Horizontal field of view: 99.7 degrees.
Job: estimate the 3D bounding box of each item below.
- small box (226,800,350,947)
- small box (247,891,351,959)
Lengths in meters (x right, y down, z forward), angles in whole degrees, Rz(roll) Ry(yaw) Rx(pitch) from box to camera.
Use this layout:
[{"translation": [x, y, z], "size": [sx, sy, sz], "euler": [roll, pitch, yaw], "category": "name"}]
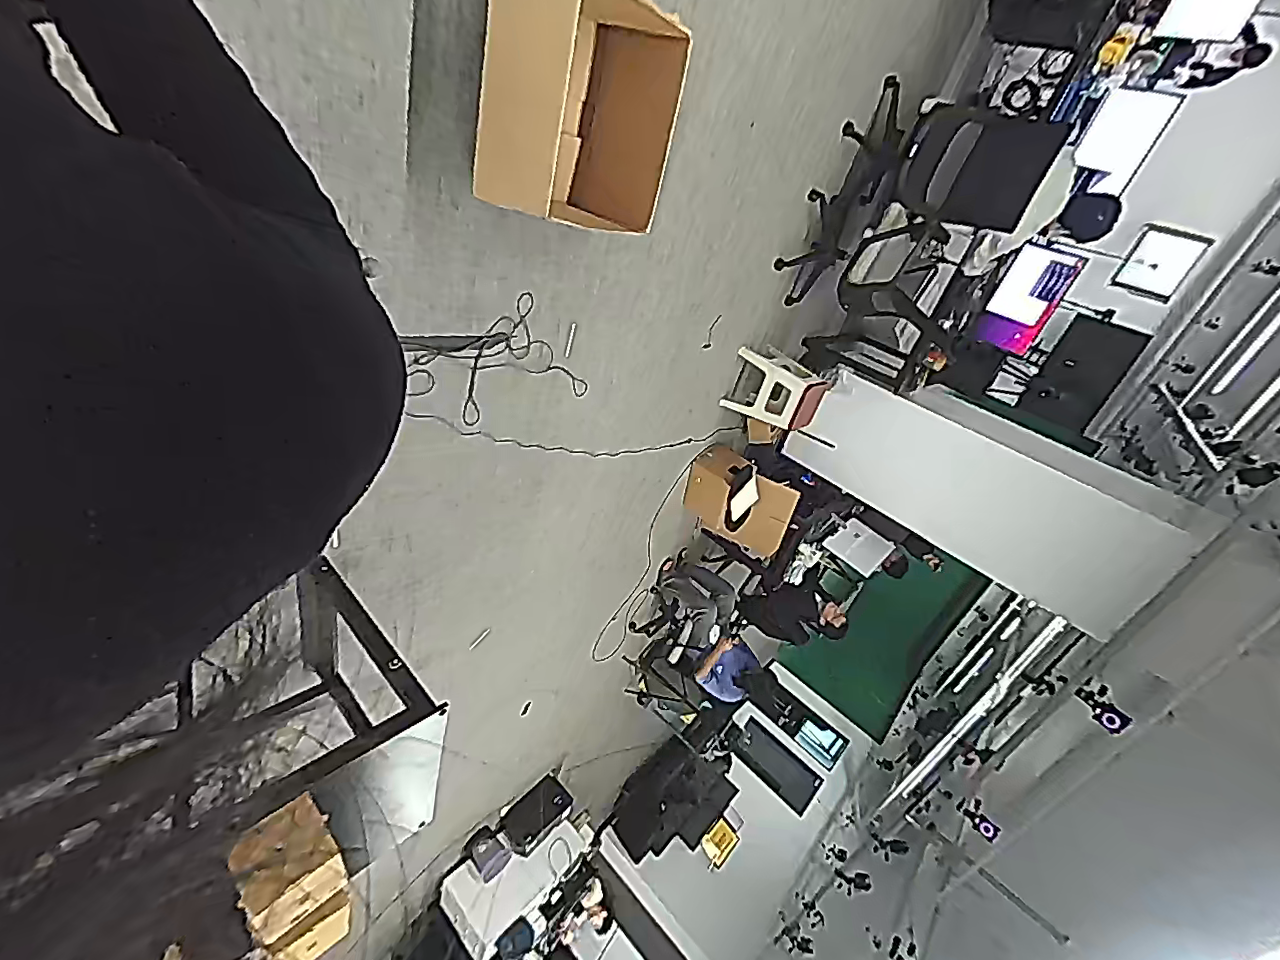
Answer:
[{"translation": [-0.756, 0.836, 1.165], "size": [0.168, 0.176, 0.179], "euler": [-25, 140, -42], "category": "small box"}, {"translation": [-0.823, 1.058, 1.306], "size": [0.168, 0.176, 0.179], "euler": [-18, 135, -48], "category": "small box"}]
